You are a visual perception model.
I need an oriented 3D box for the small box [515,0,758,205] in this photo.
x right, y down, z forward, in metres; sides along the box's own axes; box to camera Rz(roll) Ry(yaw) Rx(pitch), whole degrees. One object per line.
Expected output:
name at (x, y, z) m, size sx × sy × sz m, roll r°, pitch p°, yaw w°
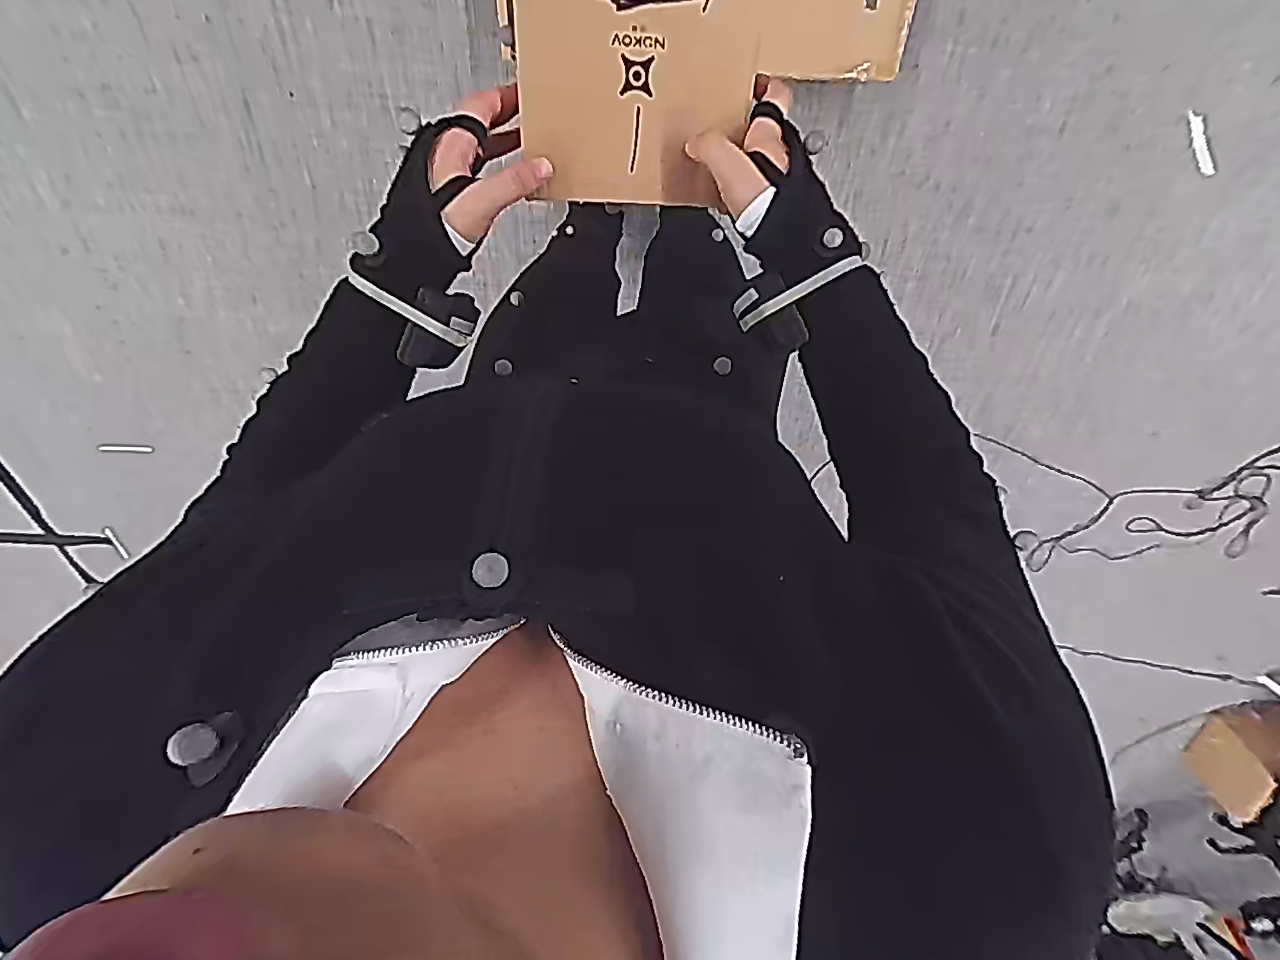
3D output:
small box at (-0.015, -0.332, 0.440) m, size 0.168 × 0.176 × 0.179 m, roll -1°, pitch 122°, yaw -8°
